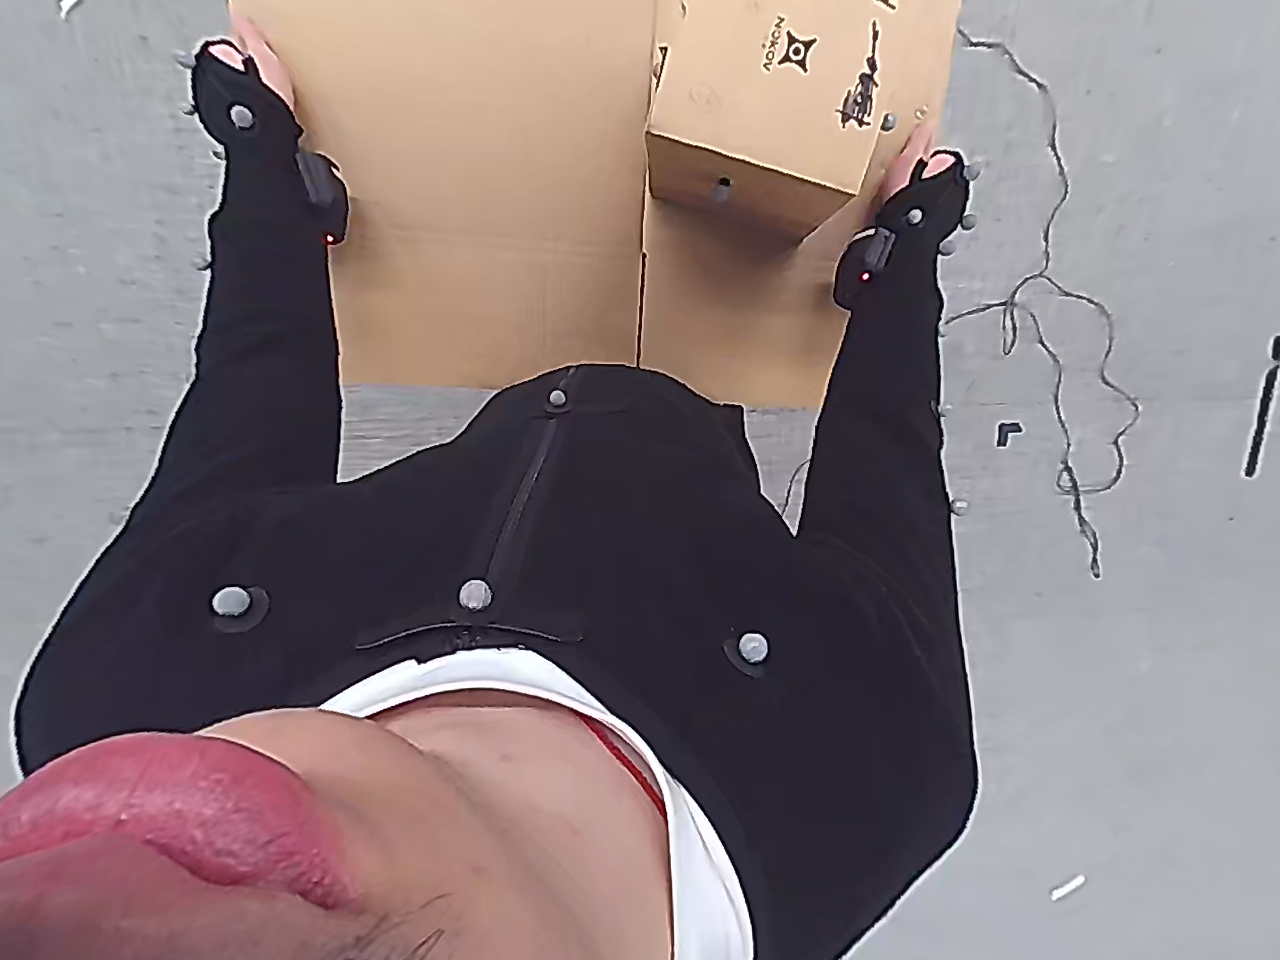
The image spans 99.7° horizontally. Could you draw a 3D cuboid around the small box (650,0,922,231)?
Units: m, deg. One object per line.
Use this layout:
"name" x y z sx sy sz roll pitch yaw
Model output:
"small box" 0.117 -0.346 0.490 0.179 0.176 0.168 16 103 0
